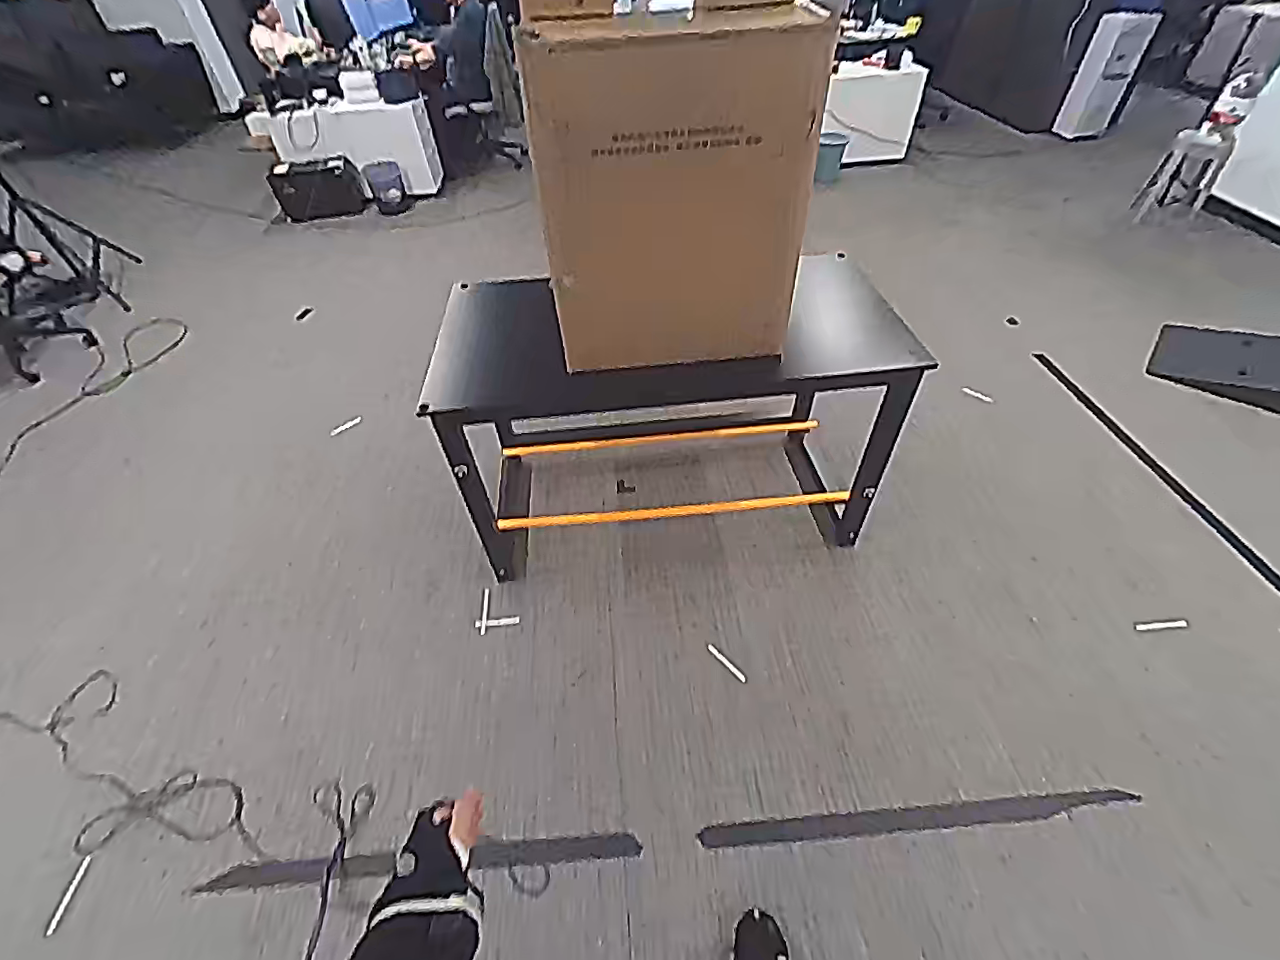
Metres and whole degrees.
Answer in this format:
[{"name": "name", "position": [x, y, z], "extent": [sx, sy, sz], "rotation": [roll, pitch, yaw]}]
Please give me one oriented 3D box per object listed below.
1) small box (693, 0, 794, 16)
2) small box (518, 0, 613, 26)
[{"name": "small box", "position": [0.184, -0.944, 0.960], "extent": [0.168, 0.176, 0.179], "rotation": [-5, 46, 1]}, {"name": "small box", "position": [-0.142, -0.919, 0.954], "extent": [0.168, 0.176, 0.179], "rotation": [-8, 46, -6]}]
